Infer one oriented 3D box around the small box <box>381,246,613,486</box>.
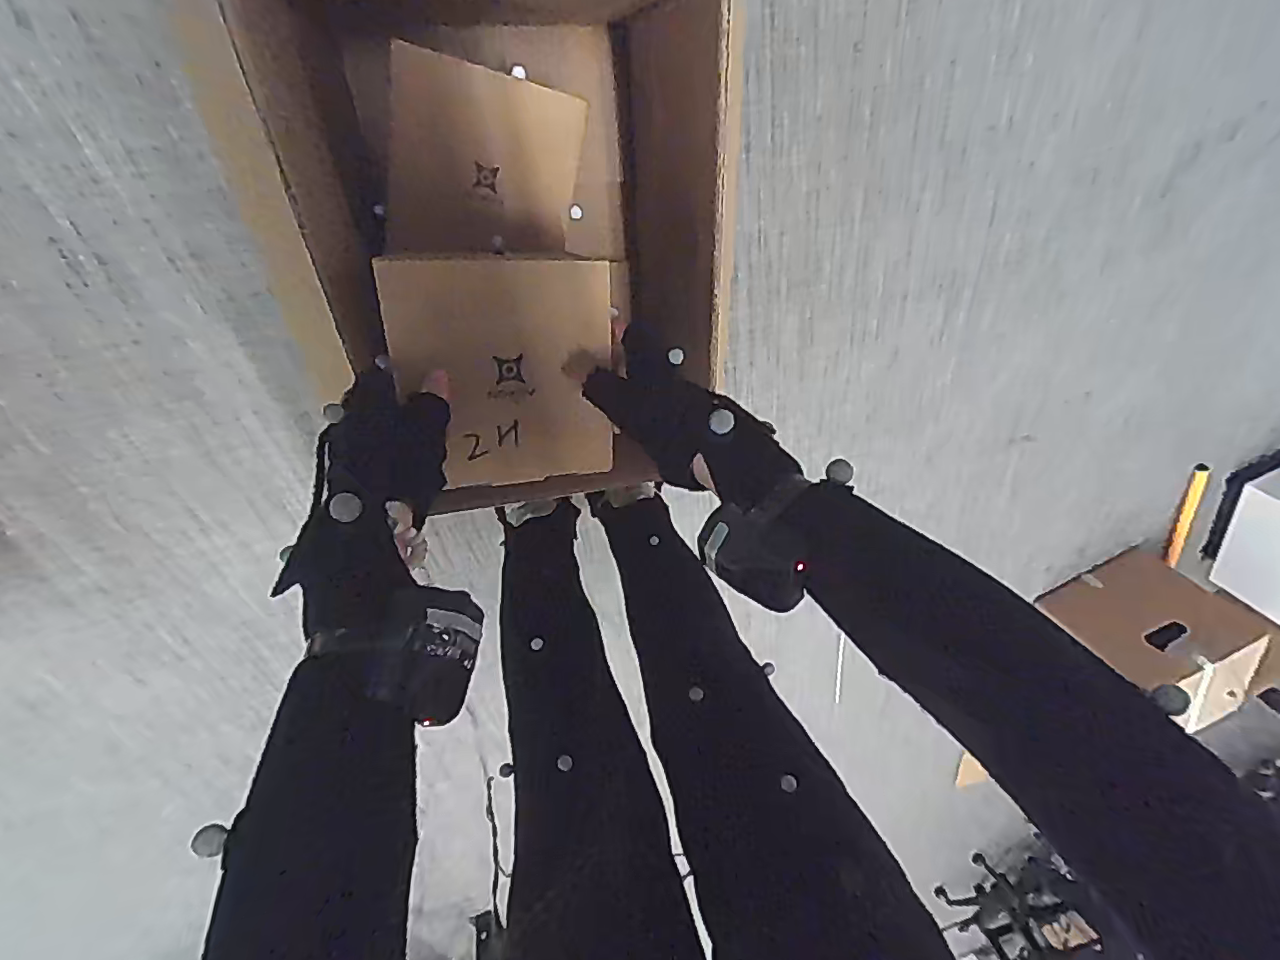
[{"bbox_3d":[-0.126,-0.113,0.487,0.168,0.176,0.179,-6,116,-17],"label":"small box"}]
